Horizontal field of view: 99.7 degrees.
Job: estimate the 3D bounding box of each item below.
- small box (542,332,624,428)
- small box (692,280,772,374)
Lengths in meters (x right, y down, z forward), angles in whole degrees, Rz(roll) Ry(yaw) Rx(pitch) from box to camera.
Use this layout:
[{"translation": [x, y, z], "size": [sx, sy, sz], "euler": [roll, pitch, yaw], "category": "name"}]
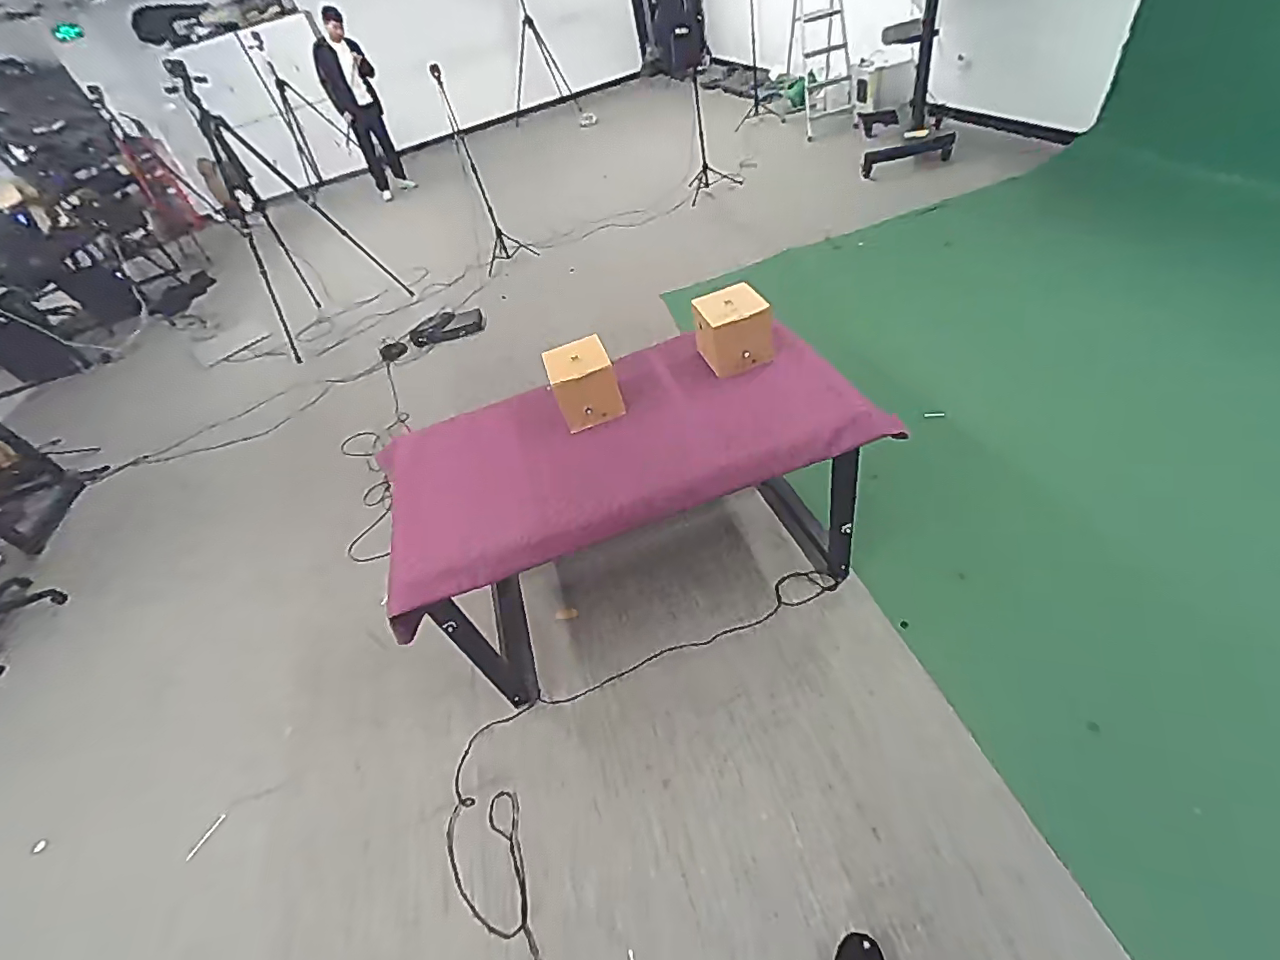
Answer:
[{"translation": [-0.156, -0.274, 1.488], "size": [0.168, 0.176, 0.179], "euler": [-20, 46, -4], "category": "small box"}, {"translation": [0.256, -0.426, 1.510], "size": [0.168, 0.176, 0.179], "euler": [-20, 45, -2], "category": "small box"}]
